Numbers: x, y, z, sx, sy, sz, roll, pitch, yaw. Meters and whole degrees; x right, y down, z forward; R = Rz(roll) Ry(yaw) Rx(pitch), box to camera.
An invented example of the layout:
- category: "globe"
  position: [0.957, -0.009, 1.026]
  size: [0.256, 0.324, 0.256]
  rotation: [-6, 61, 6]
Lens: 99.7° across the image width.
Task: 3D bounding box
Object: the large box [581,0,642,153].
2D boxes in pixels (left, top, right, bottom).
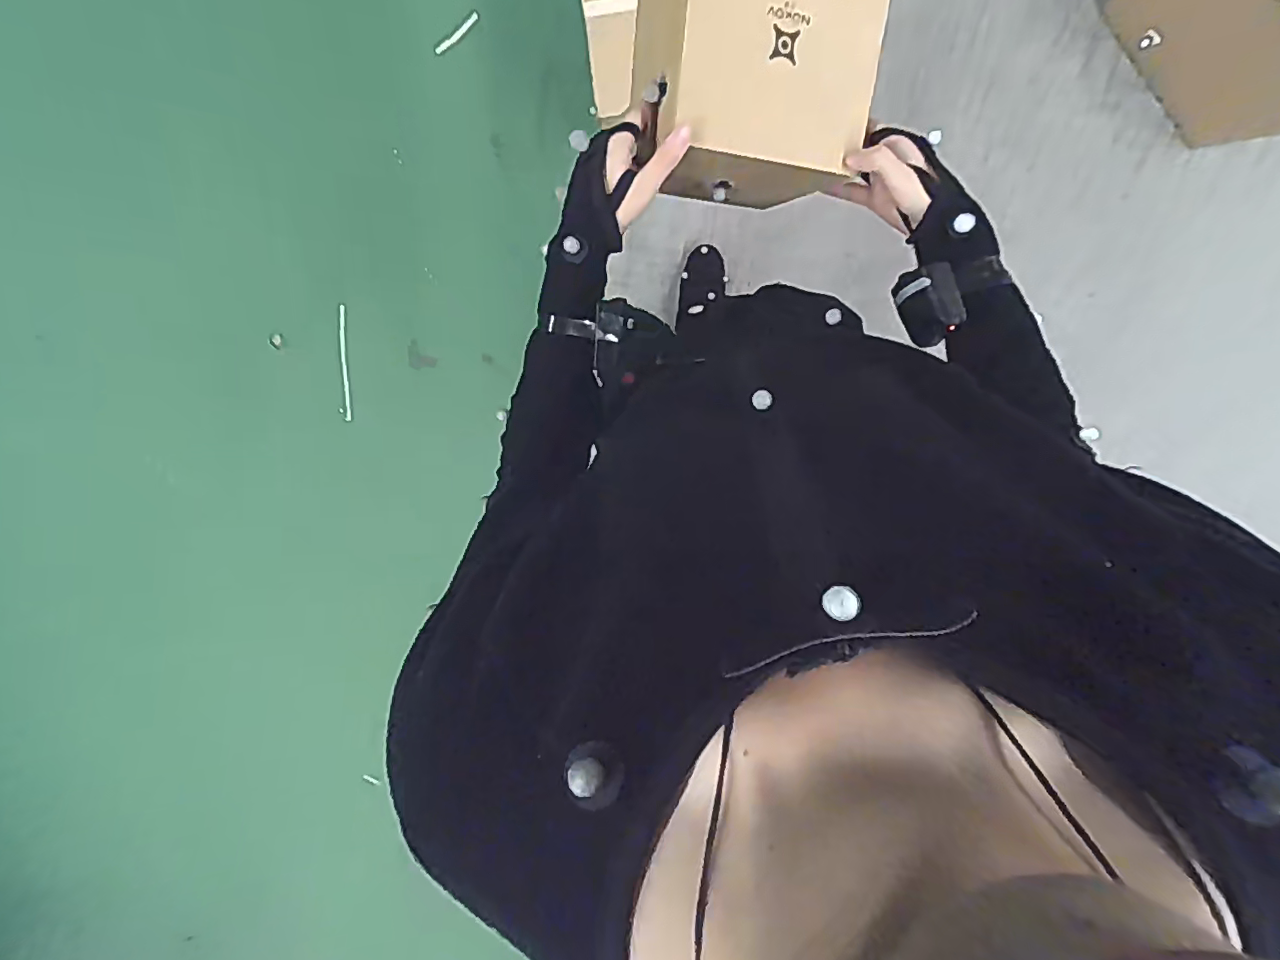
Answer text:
- category: "large box"
  position: [0.109, -0.858, 1.047]
  size: [0.408, 0.320, 0.320]
  rotation: [-5, 111, 4]

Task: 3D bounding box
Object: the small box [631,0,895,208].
- category: "small box"
  position: [0.093, -0.357, 0.480]
  size: [0.168, 0.176, 0.179]
  rotation: [0, 105, -17]
